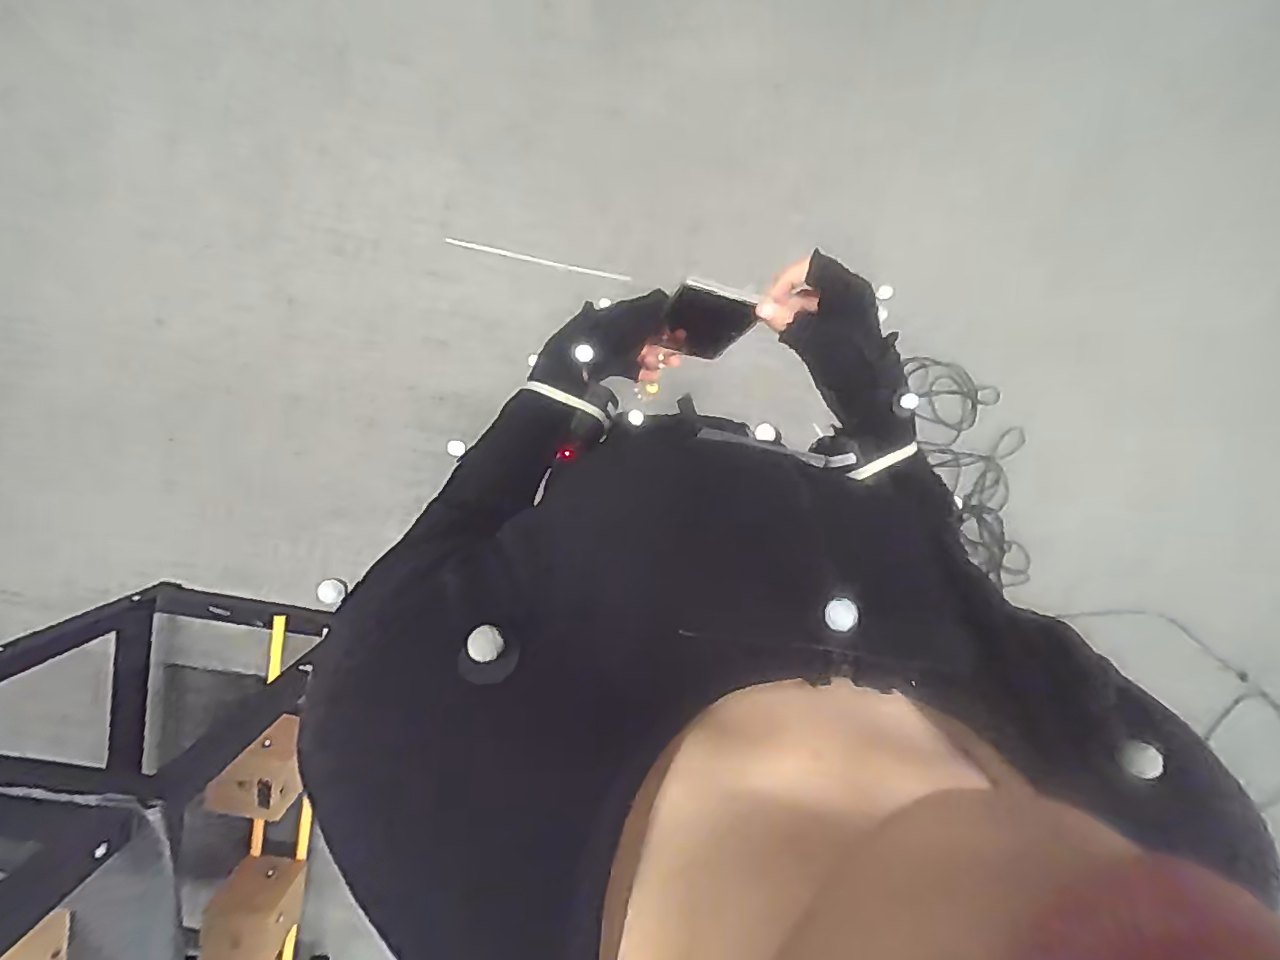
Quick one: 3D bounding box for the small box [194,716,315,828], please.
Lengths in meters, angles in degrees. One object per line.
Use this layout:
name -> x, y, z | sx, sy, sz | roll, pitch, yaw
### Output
small box -> -0.942, 0.715, 1.338 | 0.179, 0.176, 0.168 | 14, 97, -5
